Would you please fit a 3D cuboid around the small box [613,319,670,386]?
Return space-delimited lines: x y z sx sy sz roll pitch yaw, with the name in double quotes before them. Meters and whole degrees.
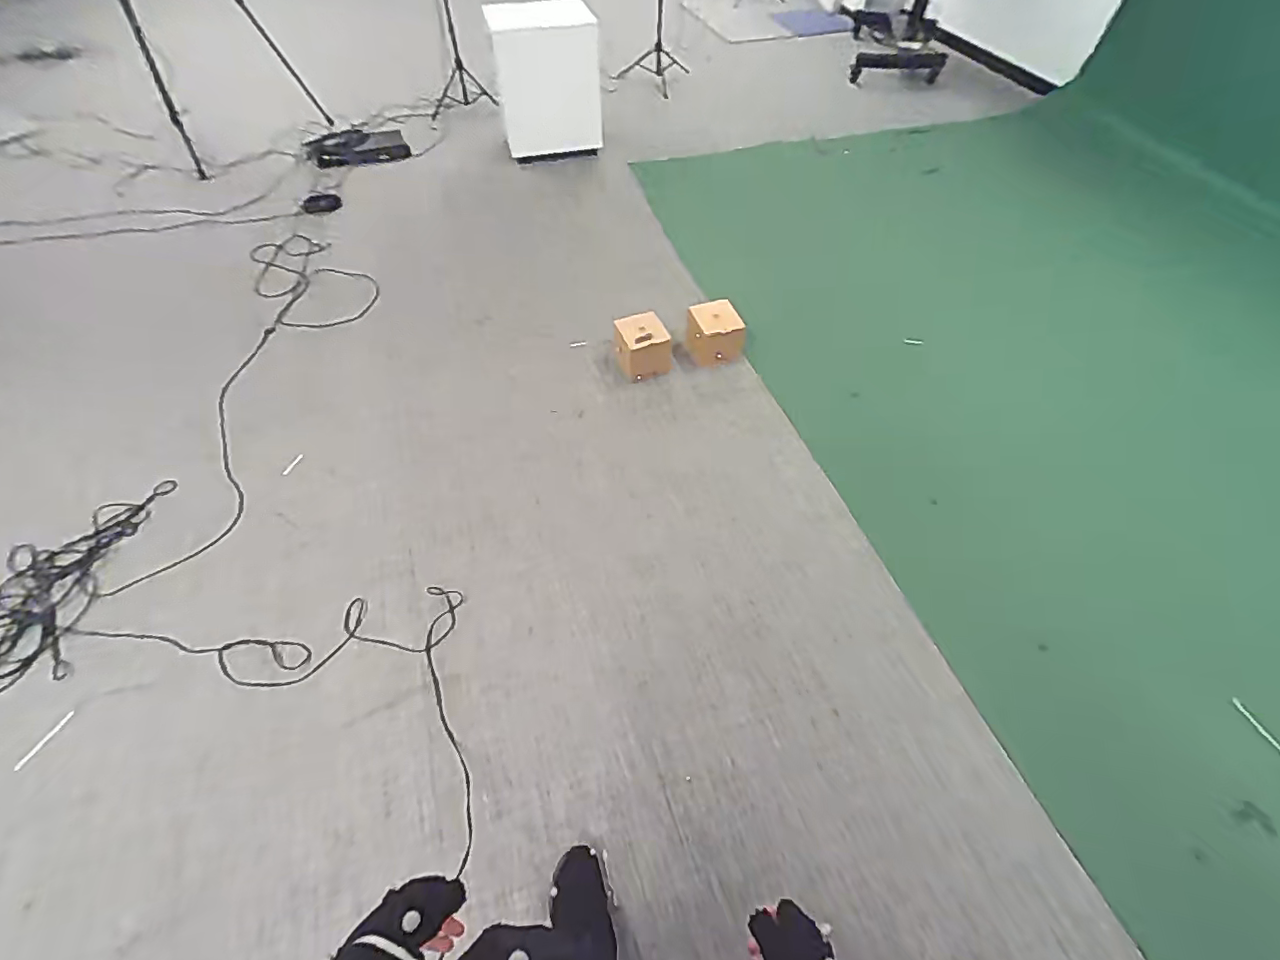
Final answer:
"small box" 0.004 -0.477 2.051 0.168 0.176 0.179 -18 56 -15

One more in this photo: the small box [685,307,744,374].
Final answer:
"small box" 0.283 -0.543 2.110 0.168 0.176 0.179 -15 56 -12
